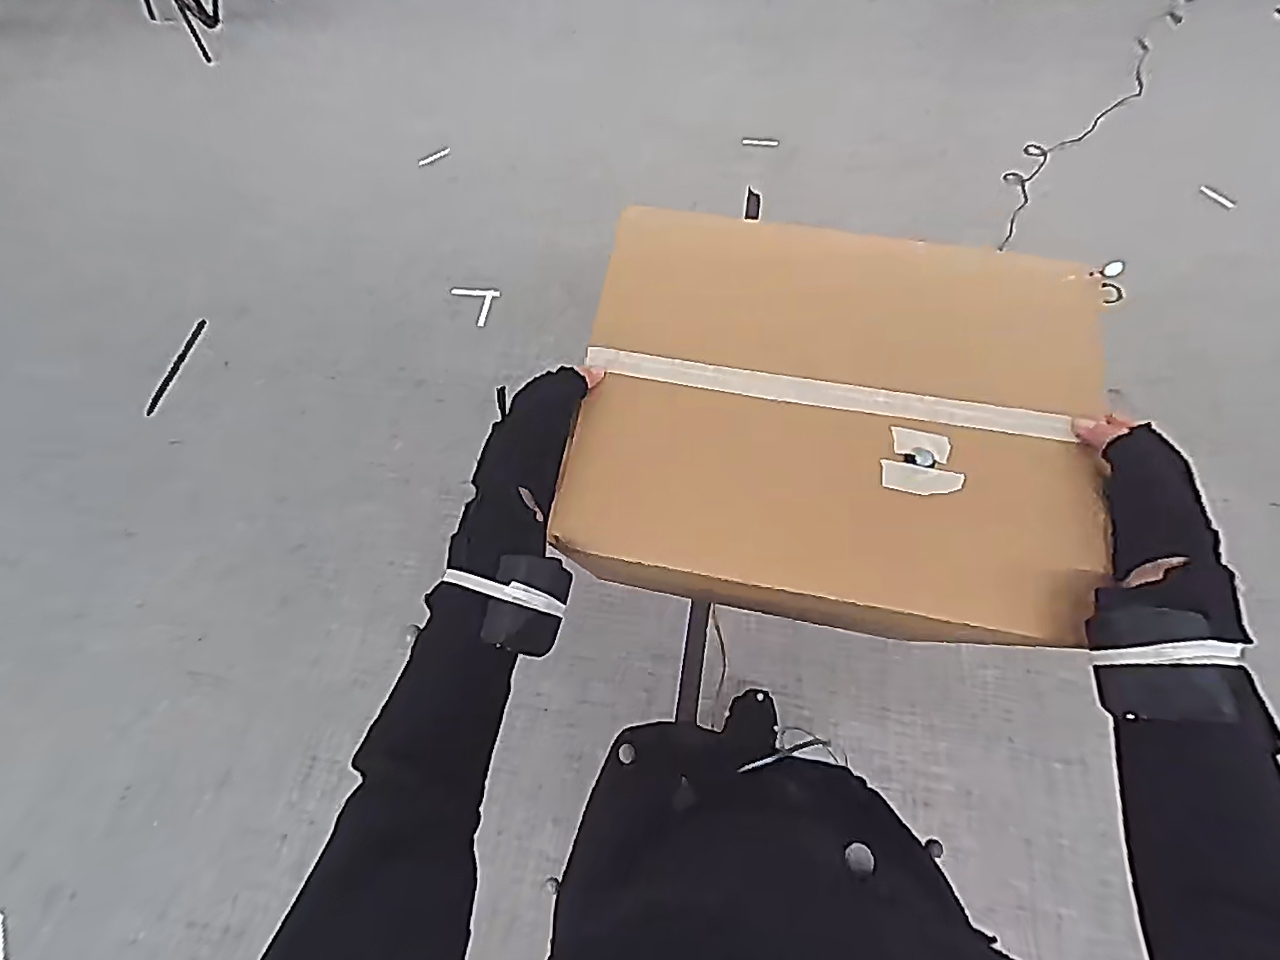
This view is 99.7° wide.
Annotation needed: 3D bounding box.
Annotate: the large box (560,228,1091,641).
[{"bbox_3d":[0.159,-0.019,0.585,0.408,0.320,0.320,10,76,5],"label":"large box"}]
